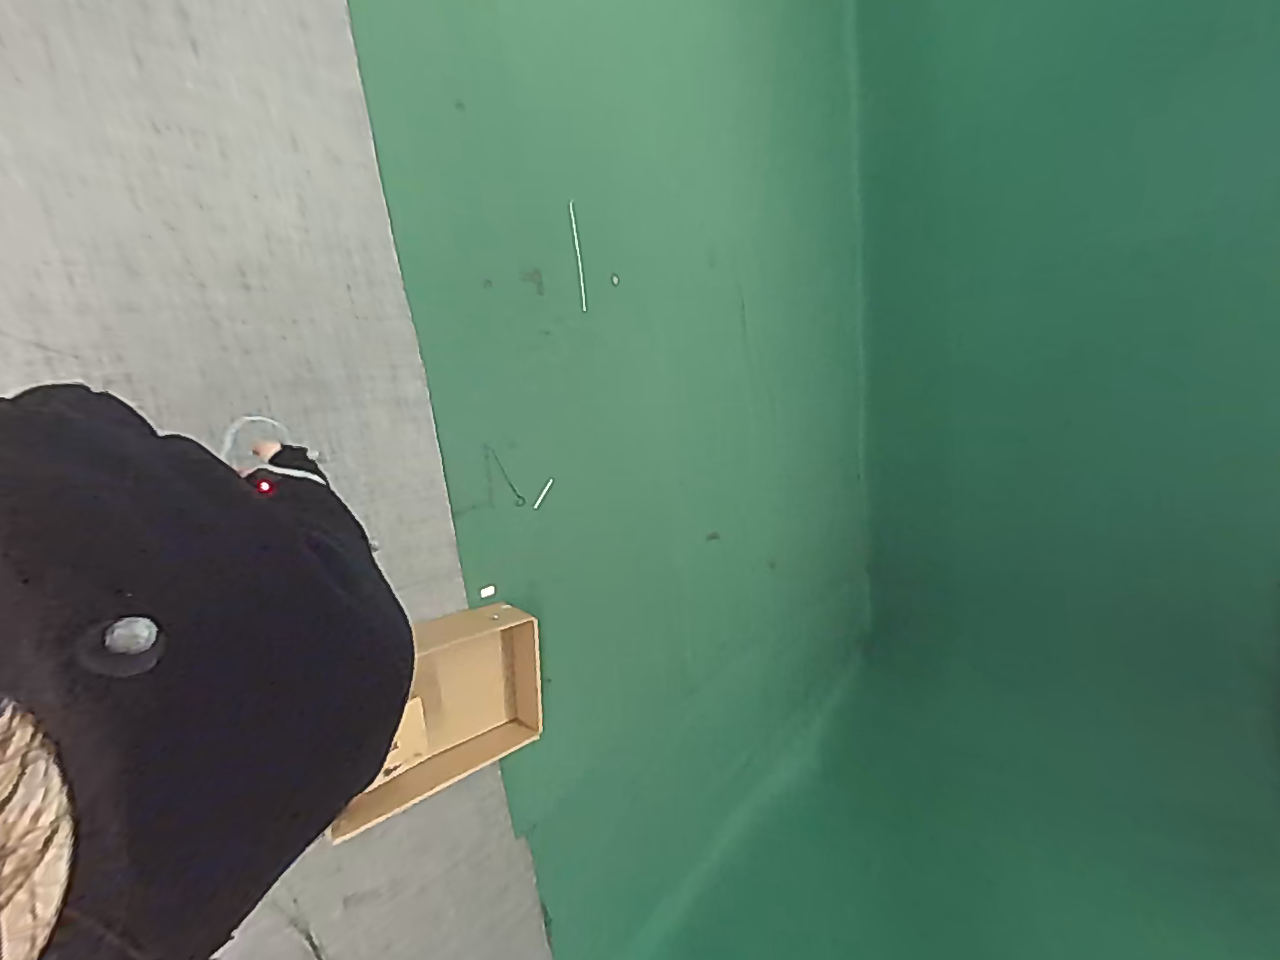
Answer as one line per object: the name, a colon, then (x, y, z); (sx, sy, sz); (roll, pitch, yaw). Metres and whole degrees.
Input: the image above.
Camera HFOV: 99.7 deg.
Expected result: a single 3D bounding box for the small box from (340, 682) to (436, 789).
small box: (-0.653, 0.644, 1.393); (0.168, 0.176, 0.179); (-13, 102, -44)
